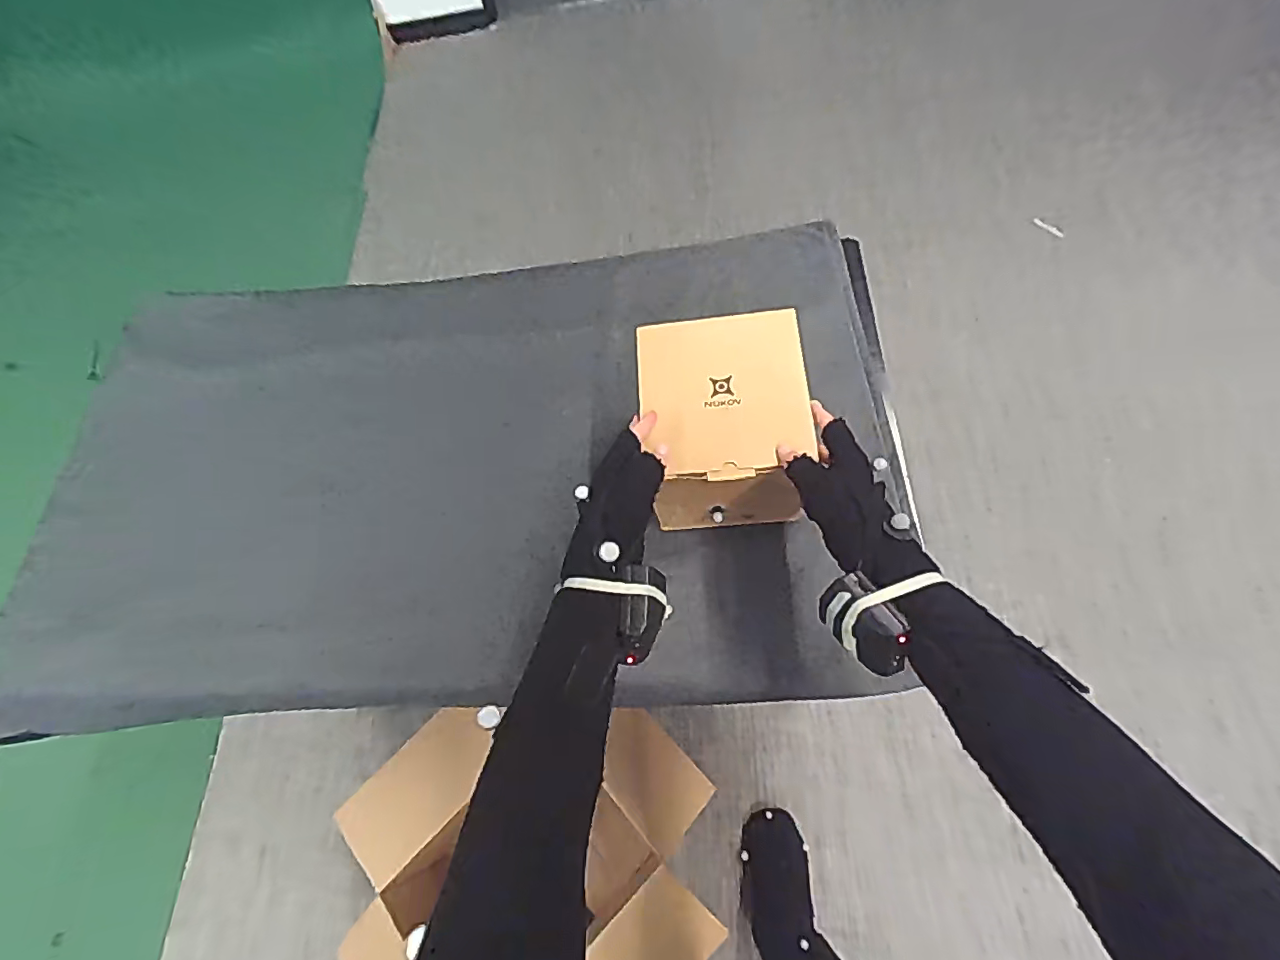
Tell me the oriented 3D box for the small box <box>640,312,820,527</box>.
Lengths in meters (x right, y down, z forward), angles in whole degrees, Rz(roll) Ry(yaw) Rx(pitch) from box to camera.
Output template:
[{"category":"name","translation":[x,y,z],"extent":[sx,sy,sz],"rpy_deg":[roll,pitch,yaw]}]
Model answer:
[{"category":"small box","translation":[0.092,-0.058,0.608],"extent":[0.168,0.176,0.179],"rpy_deg":[-5,69,7]}]
